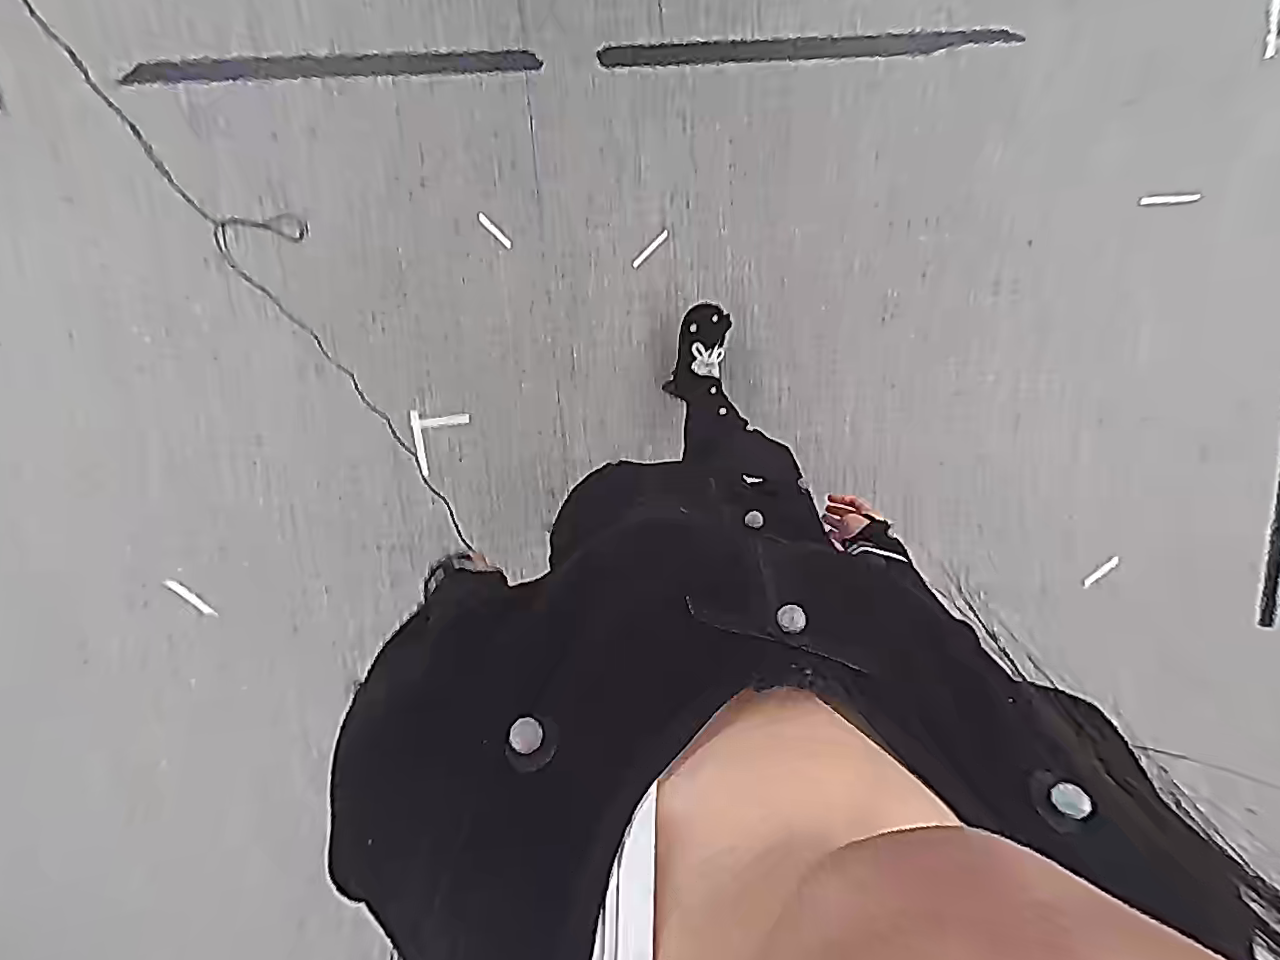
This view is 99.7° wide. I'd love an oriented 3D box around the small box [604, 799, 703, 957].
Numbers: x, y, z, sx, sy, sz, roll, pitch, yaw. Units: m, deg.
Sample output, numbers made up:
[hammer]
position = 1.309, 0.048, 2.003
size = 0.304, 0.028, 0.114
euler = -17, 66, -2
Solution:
[small box]
position = 0.026, 0.761, 1.047
size = 0.168, 0.176, 0.179
euler = -7, 99, 0
